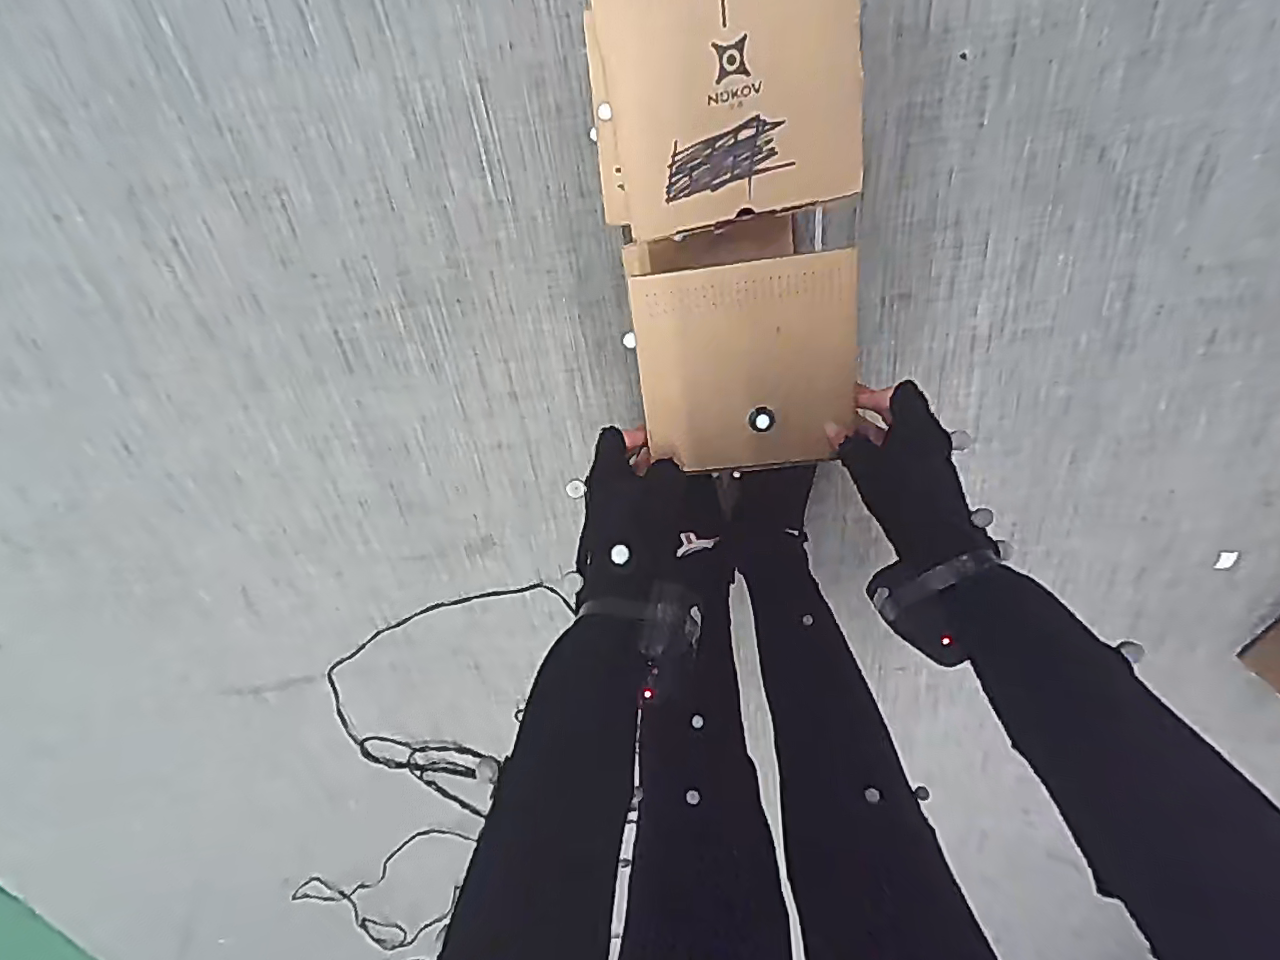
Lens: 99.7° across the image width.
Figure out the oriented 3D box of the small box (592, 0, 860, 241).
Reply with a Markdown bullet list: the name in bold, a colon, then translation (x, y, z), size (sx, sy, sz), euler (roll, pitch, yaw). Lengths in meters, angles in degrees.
- **small box**: translation (0.065, -0.301, 0.424), size (0.168, 0.176, 0.179), euler (-8, 116, 8)

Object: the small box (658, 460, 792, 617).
- **small box**: translation (0.122, 0.087, 0.849), size (0.168, 0.176, 0.179), euler (-5, 121, -6)
